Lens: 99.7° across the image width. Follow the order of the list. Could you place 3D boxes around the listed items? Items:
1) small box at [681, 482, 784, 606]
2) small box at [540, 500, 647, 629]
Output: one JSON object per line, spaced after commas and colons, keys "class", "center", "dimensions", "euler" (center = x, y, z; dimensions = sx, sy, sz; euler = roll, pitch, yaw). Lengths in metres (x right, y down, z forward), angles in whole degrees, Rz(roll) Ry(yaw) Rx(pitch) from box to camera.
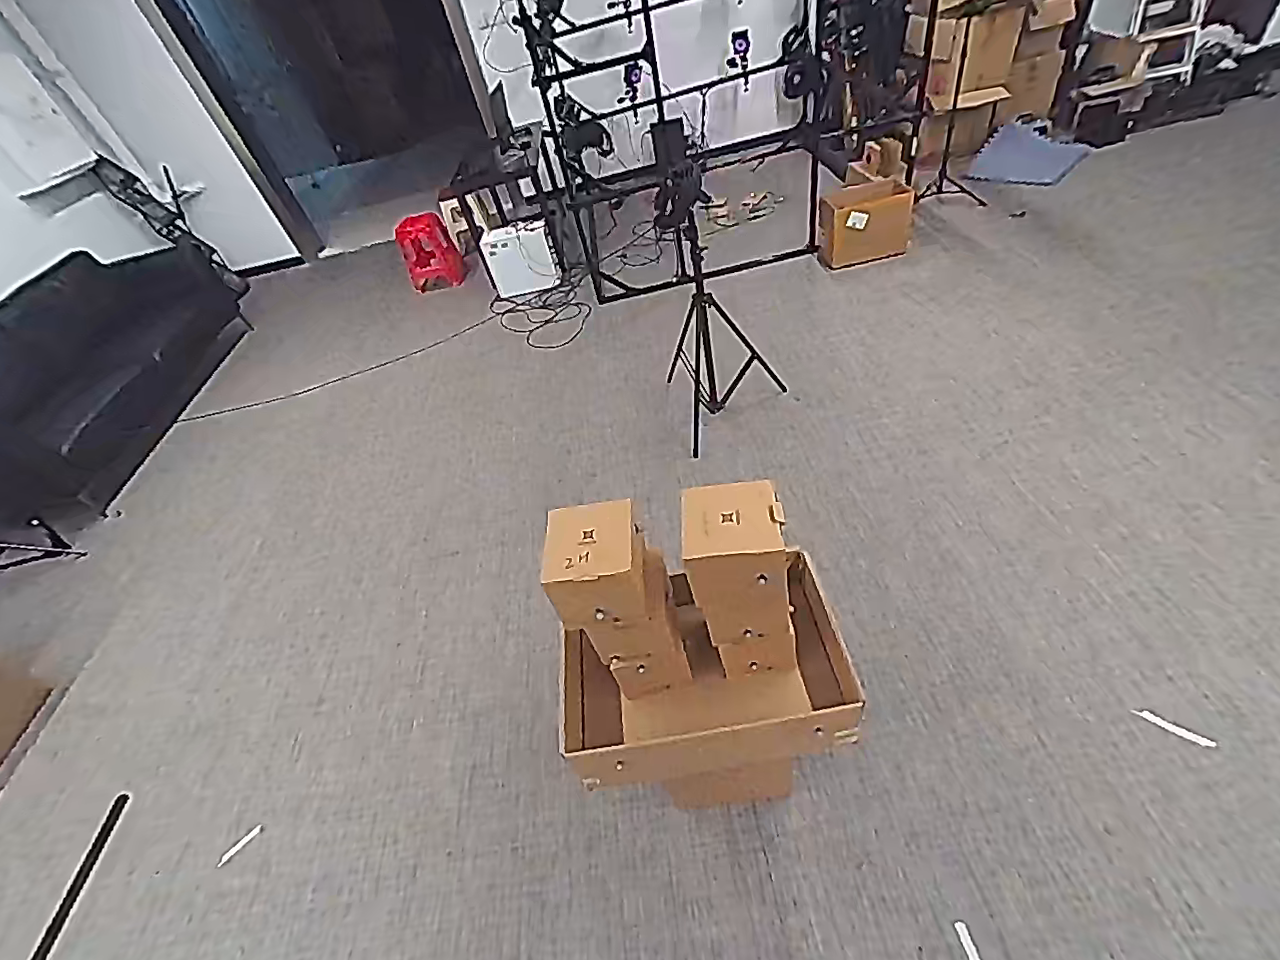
{"class": "small box", "center": [0.176, 0.125, 1.023], "dimensions": [0.179, 0.176, 0.168], "euler": [-6, 46, 11]}
{"class": "small box", "center": [-0.082, 0.166, 1.051], "dimensions": [0.168, 0.176, 0.179], "euler": [-9, 46, 7]}
